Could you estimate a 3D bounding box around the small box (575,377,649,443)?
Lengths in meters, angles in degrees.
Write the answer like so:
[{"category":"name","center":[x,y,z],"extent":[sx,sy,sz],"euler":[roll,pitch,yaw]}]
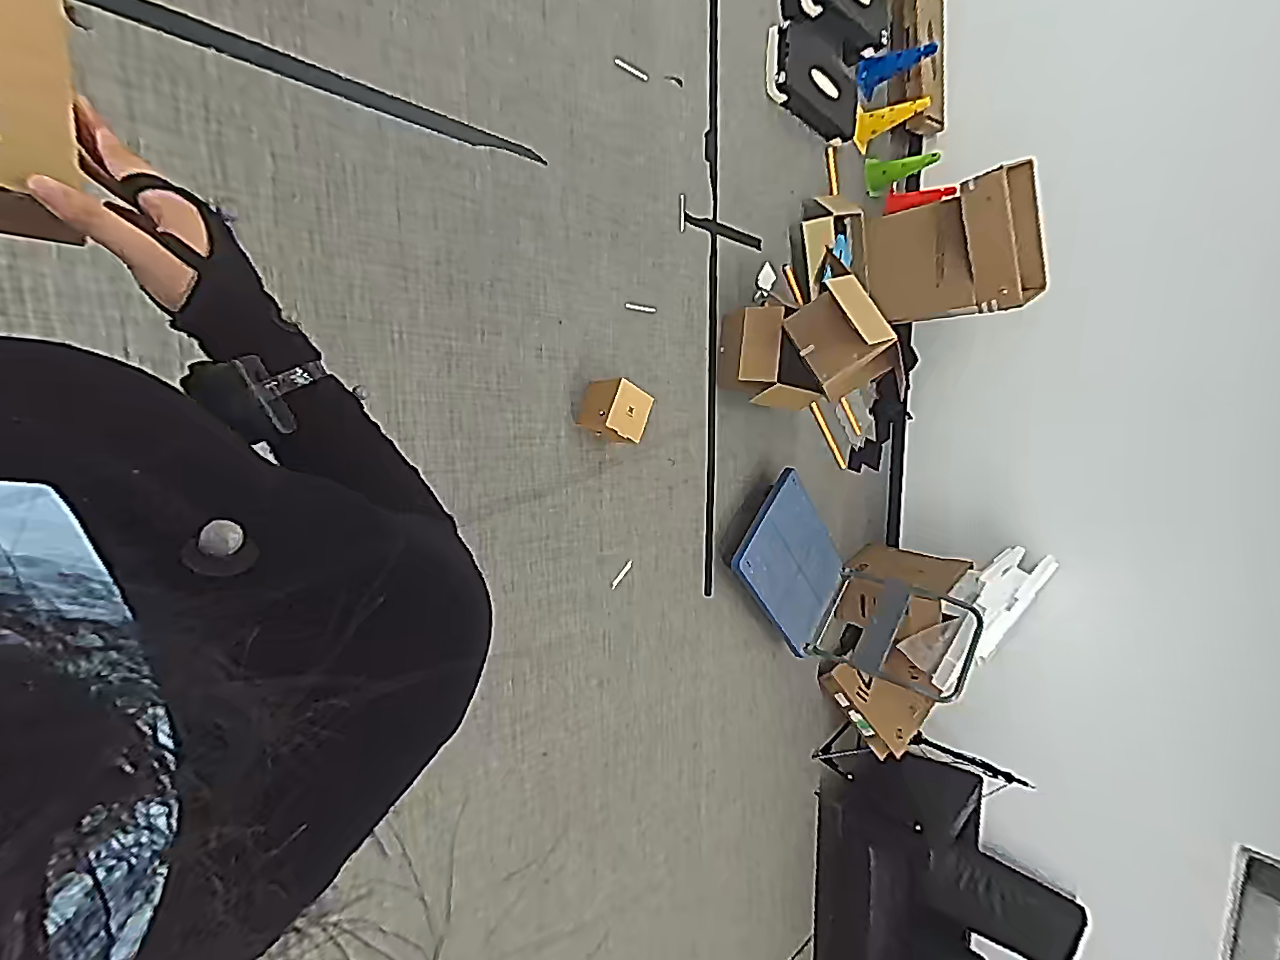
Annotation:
[{"category":"small box","center":[-0.100,-0.241,1.878],"extent":[0.168,0.176,0.179],"euler":[27,77,-42]}]
